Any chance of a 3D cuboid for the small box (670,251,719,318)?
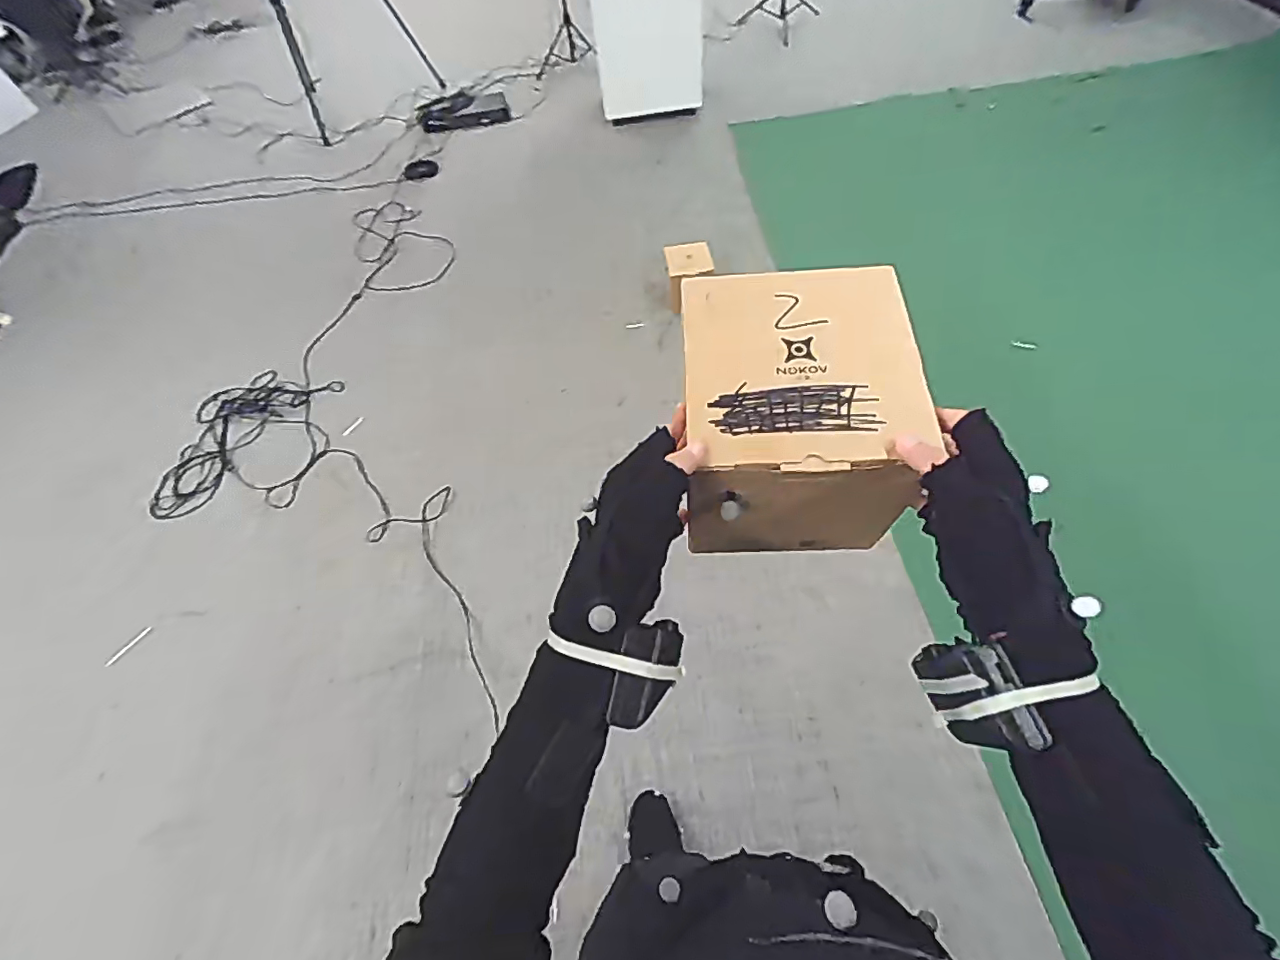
[{"bbox_3d":[0.210,-0.756,2.096,0.168,0.176,0.179,-8,58,2],"label":"small box"}]
